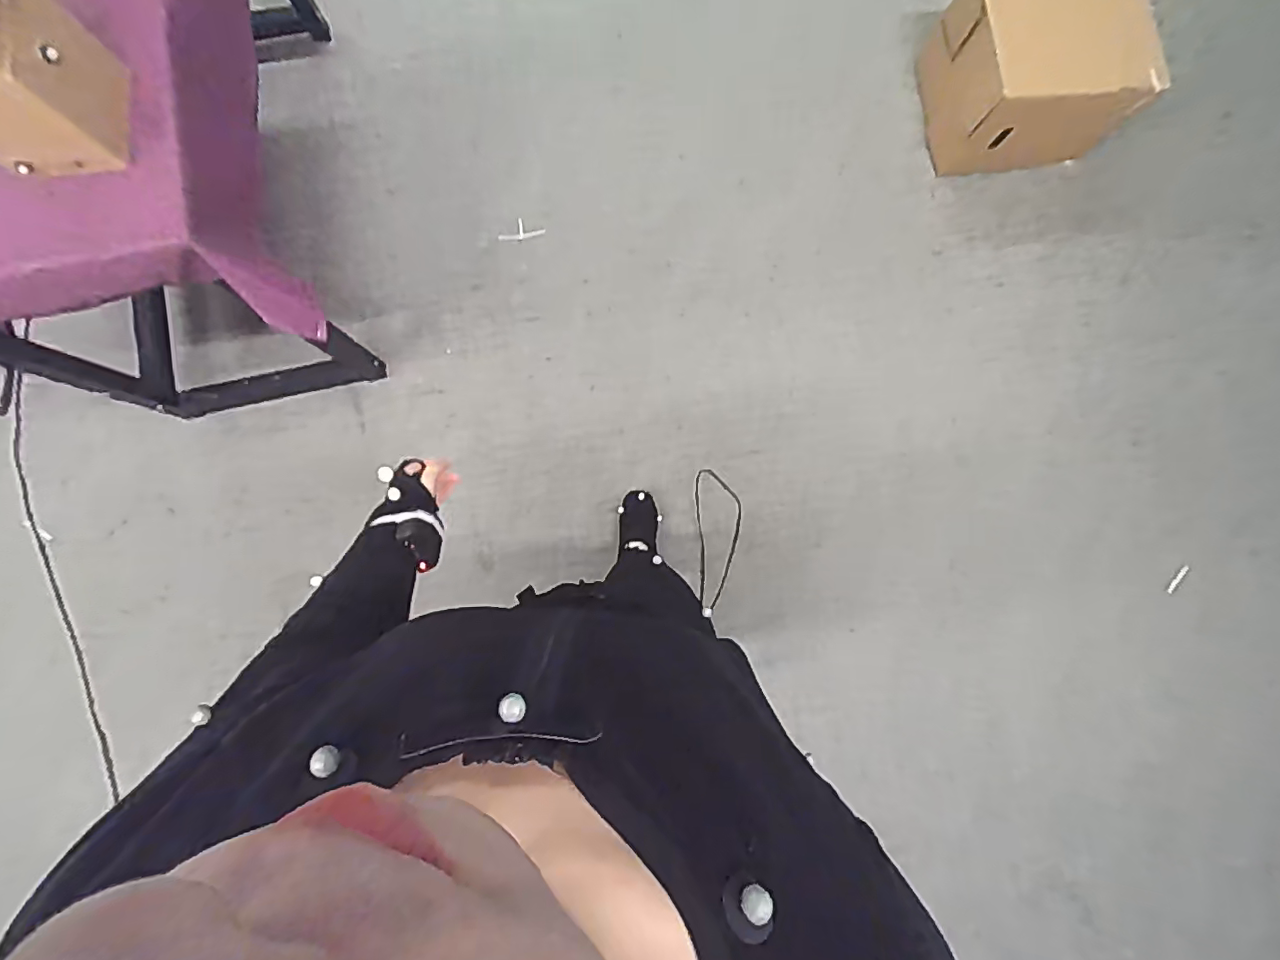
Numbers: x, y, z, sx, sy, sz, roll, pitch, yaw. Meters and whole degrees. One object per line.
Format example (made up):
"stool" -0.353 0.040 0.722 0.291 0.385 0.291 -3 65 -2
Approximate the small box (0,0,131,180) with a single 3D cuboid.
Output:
"small box" -0.882 -0.557 0.772 0.168 0.176 0.179 -8 82 -2
